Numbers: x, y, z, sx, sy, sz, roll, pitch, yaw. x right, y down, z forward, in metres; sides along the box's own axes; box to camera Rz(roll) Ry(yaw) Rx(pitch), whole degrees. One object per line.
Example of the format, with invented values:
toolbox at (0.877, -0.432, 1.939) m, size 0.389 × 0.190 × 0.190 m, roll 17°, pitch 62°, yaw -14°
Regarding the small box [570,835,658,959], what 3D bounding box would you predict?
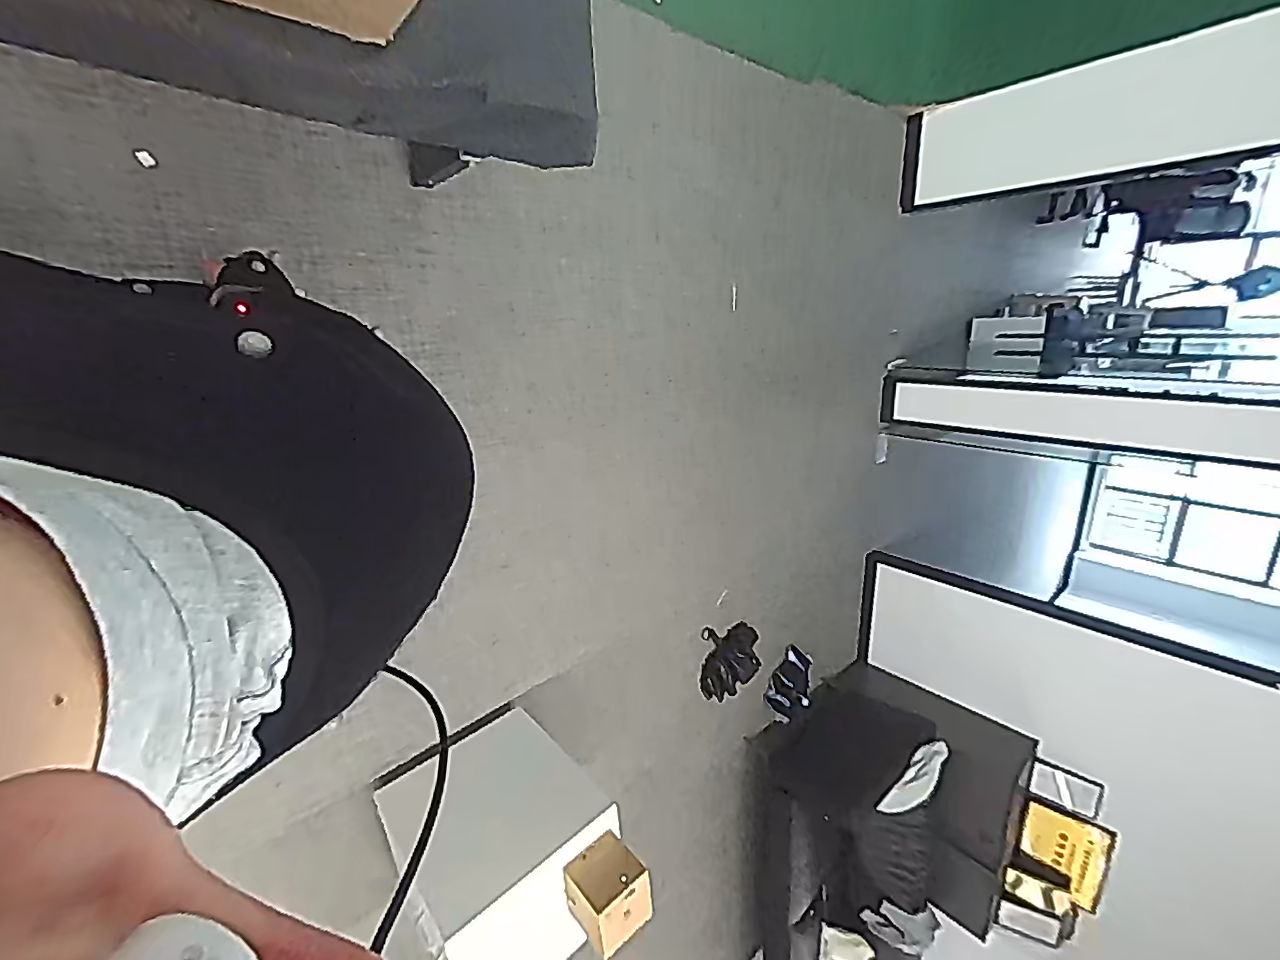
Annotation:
small box at (-0.070, 1.110, 1.449) m, size 0.168 × 0.176 × 0.179 m, roll -19°, pitch 115°, yaw -36°
